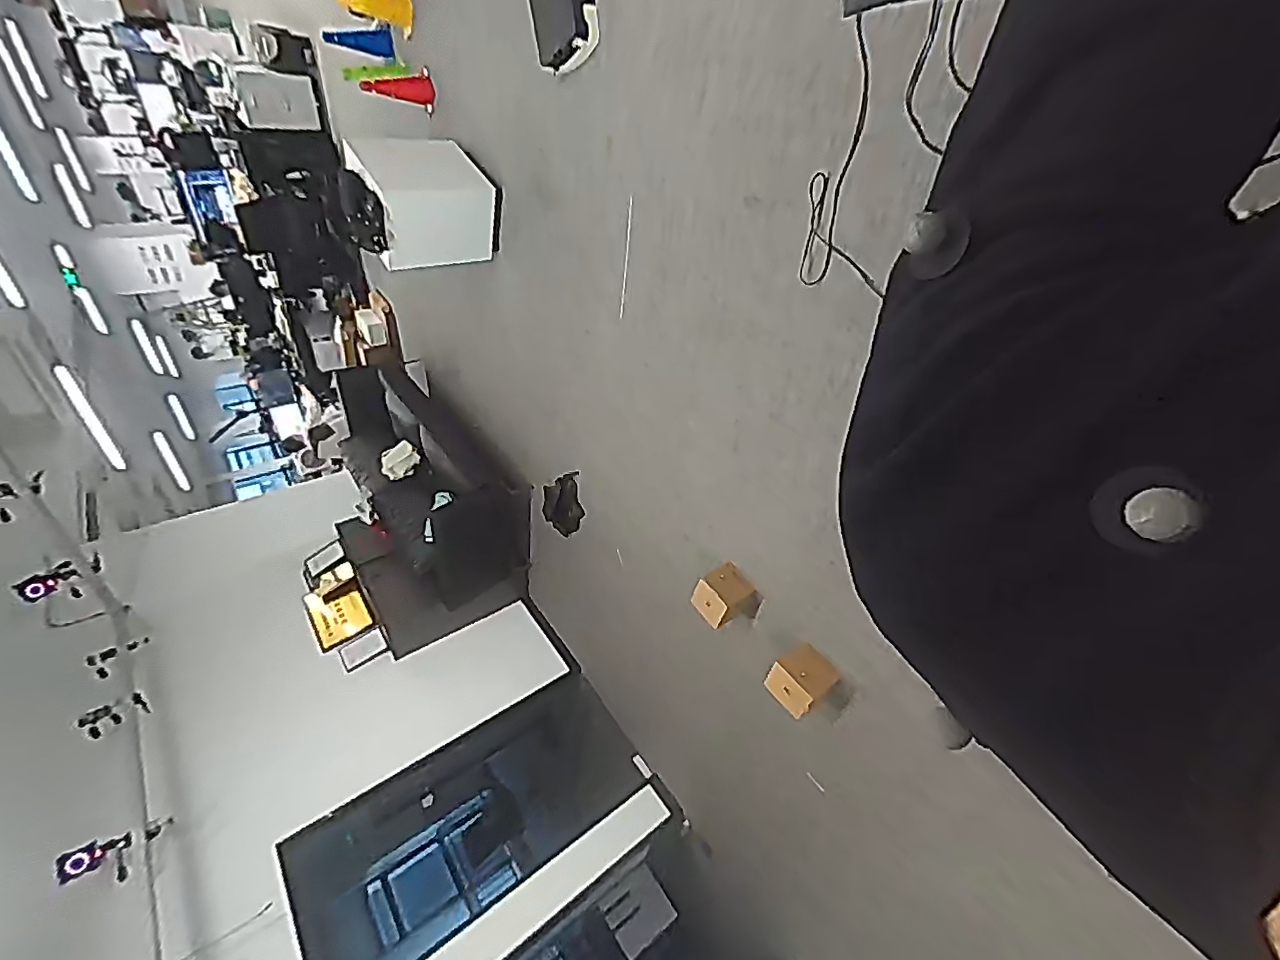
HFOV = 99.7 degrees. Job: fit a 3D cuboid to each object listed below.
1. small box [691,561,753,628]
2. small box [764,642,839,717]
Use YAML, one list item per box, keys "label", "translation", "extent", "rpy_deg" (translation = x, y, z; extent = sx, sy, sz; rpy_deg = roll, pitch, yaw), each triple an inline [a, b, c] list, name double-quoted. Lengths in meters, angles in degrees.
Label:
- label: "small box"
  translation: [0.339, 0.465, 2.222]
  extent: [0.168, 0.176, 0.179]
  rpy_deg: [47, 143, 31]
- label: "small box"
  translation: [0.596, 0.728, 1.998]
  extent: [0.179, 0.176, 0.168]
  rpy_deg: [43, 140, 33]
